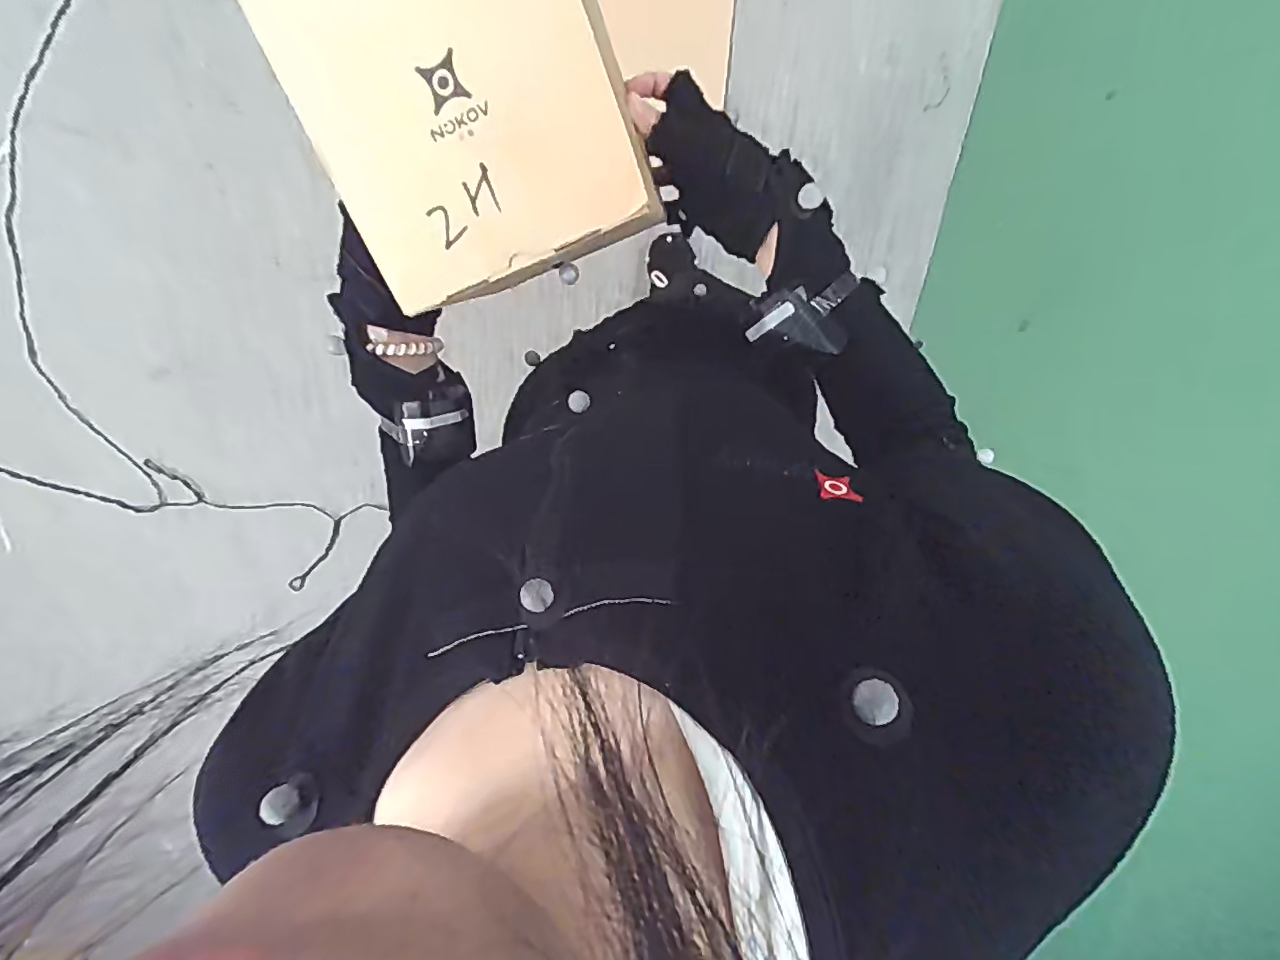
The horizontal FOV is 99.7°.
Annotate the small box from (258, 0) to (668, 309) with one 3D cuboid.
[{"bbox_3d":[-0.086,-0.233,0.361,0.168,0.176,0.179,-17,111,13],"label":"small box"}]
